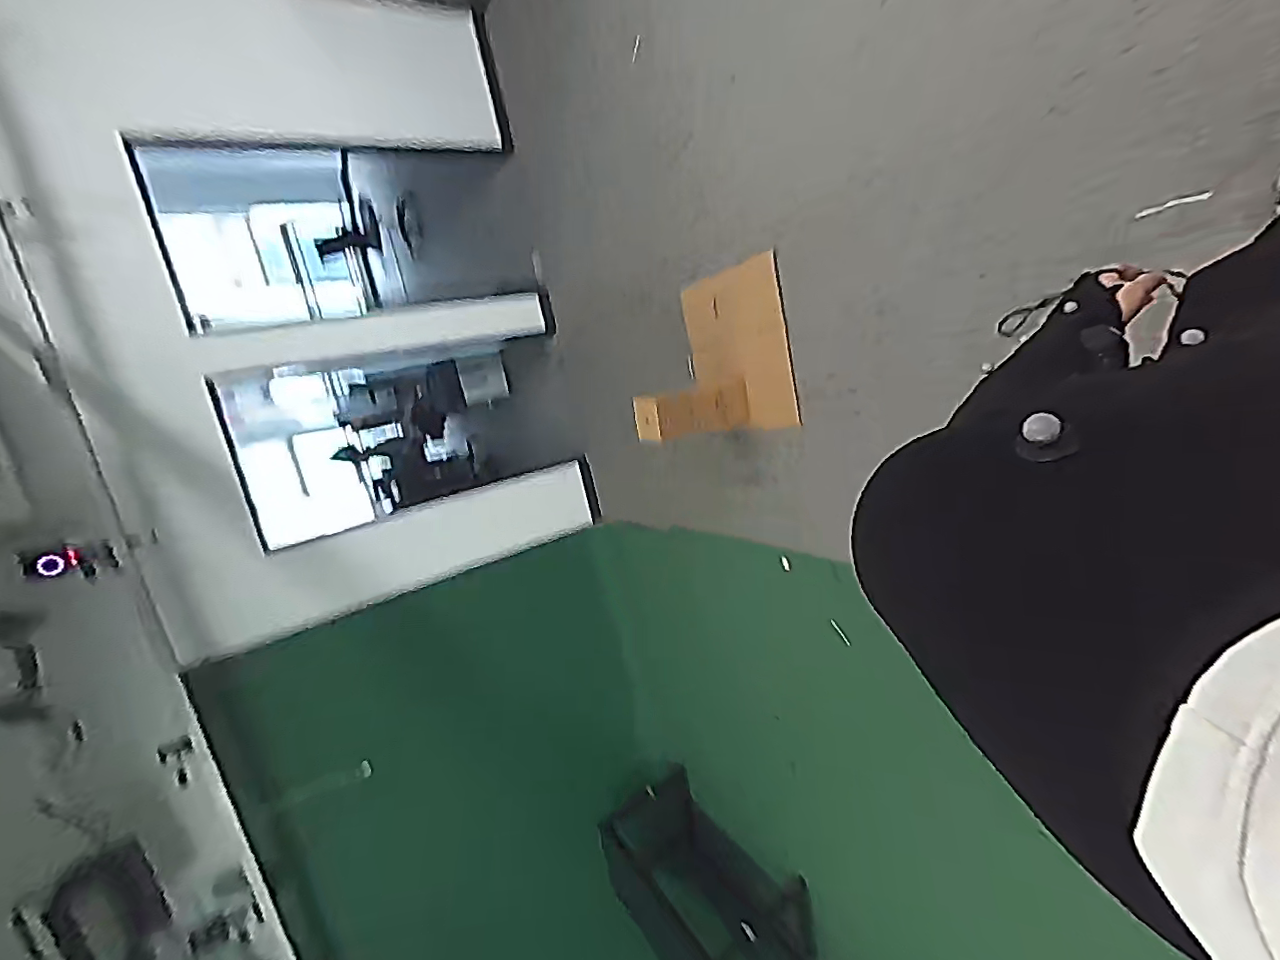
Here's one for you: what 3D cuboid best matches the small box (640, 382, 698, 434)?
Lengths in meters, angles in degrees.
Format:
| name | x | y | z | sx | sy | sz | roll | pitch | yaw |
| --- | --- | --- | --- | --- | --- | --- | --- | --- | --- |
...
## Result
| name | x | y | z | sx | sy | sz | roll | pitch | yaw |
| --- | --- | --- | --- | --- | --- | --- | --- | --- | --- |
| small box | 0.123 | -0.301 | 2.226 | 0.168 | 0.176 | 0.179 | 17 | 120 | 55 |
